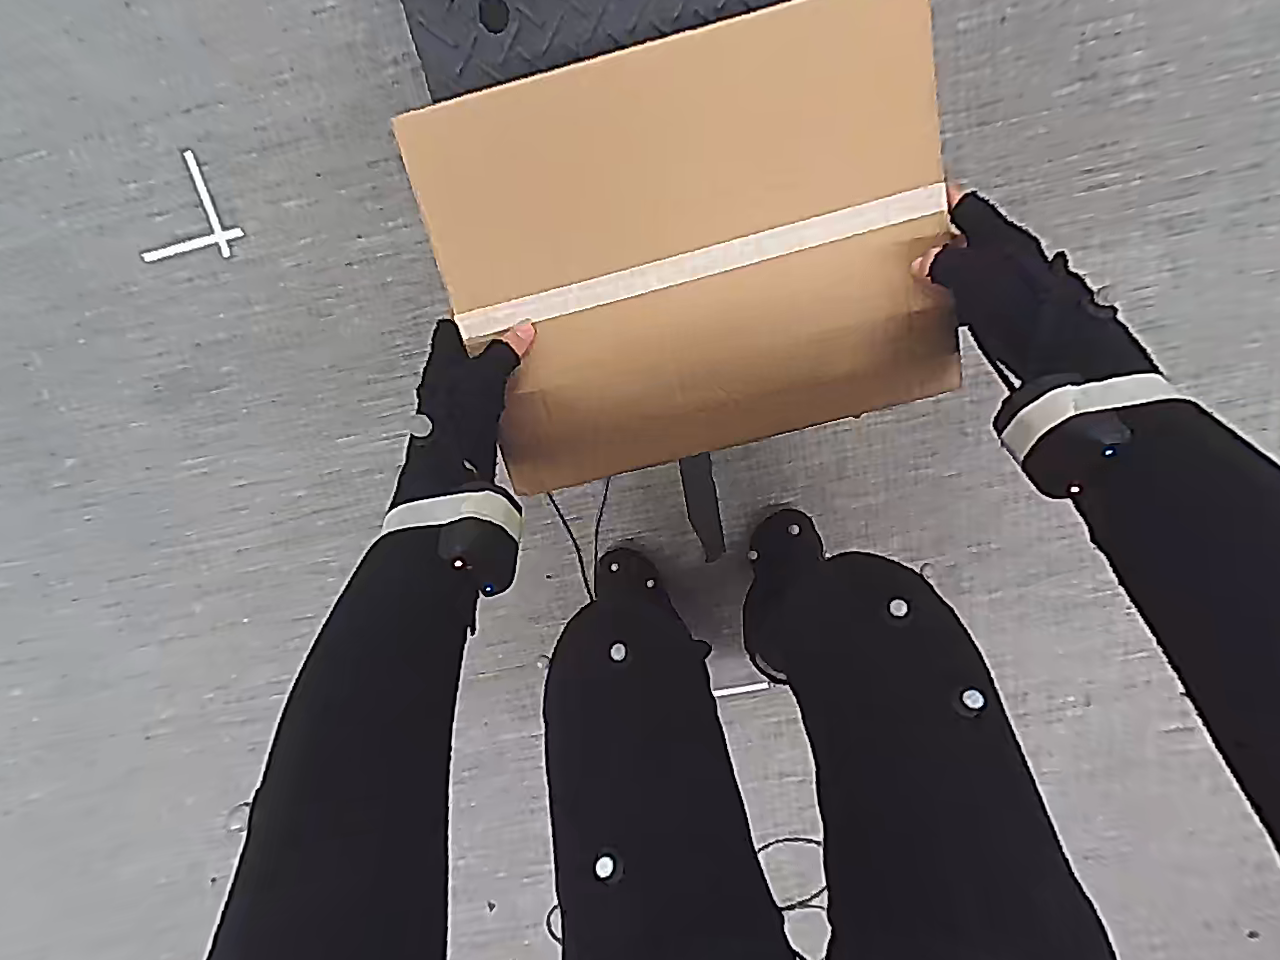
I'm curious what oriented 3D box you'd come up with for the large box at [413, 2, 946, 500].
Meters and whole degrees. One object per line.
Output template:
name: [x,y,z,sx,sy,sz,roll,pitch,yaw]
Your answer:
large box: [0.046,-0.212,0.597,0.408,0.320,0.320,-14,105,3]
